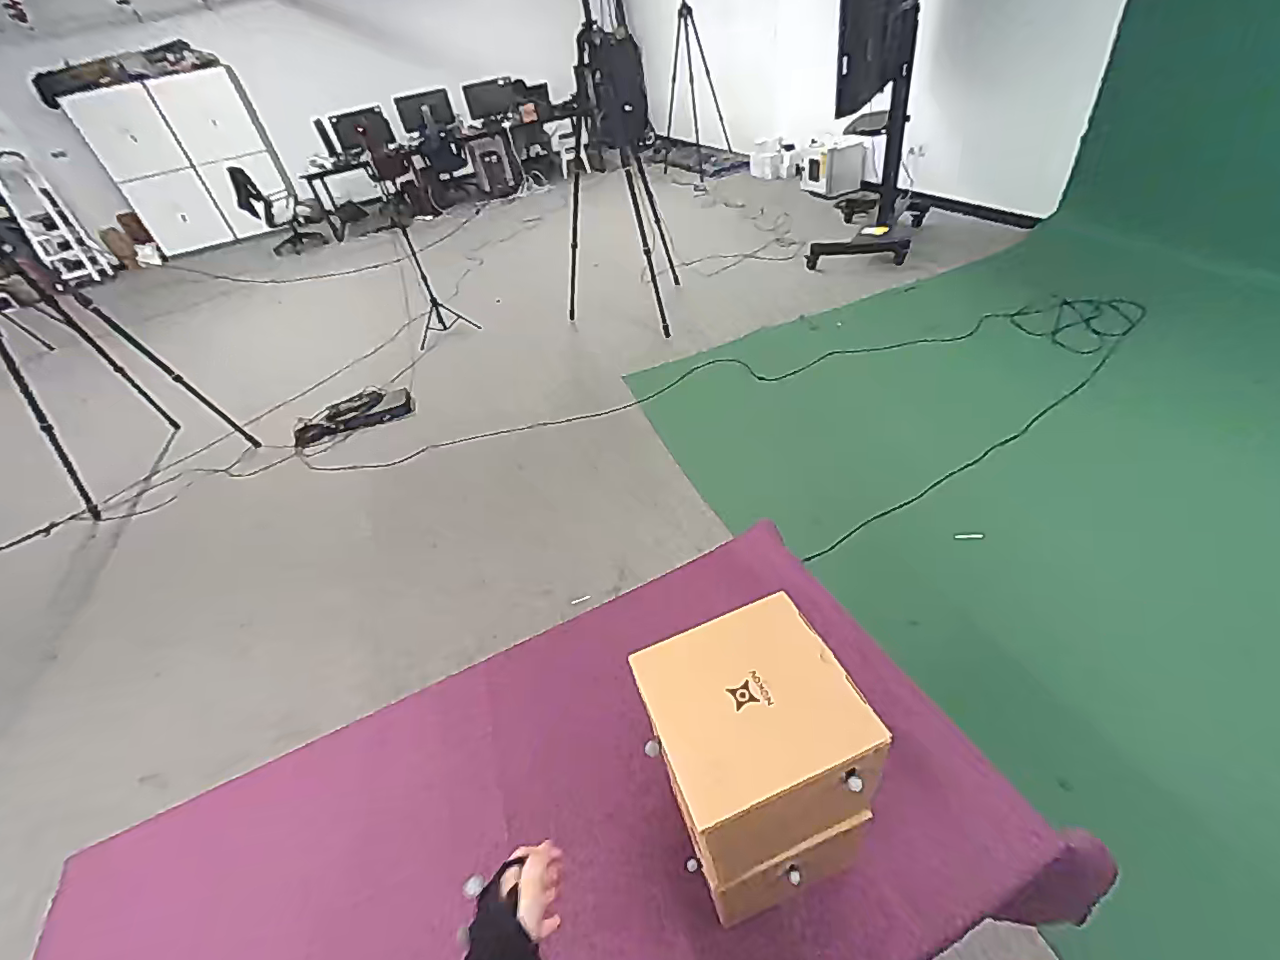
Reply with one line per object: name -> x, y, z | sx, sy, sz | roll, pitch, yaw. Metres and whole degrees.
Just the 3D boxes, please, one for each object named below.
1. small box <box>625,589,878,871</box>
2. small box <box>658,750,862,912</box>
small box -> 0.104, 0.247, 0.537 | 0.179, 0.176, 0.168 | -20, 42, -9
small box -> 0.133, 0.370, 0.639 | 0.179, 0.176, 0.168 | -19, 42, -8
